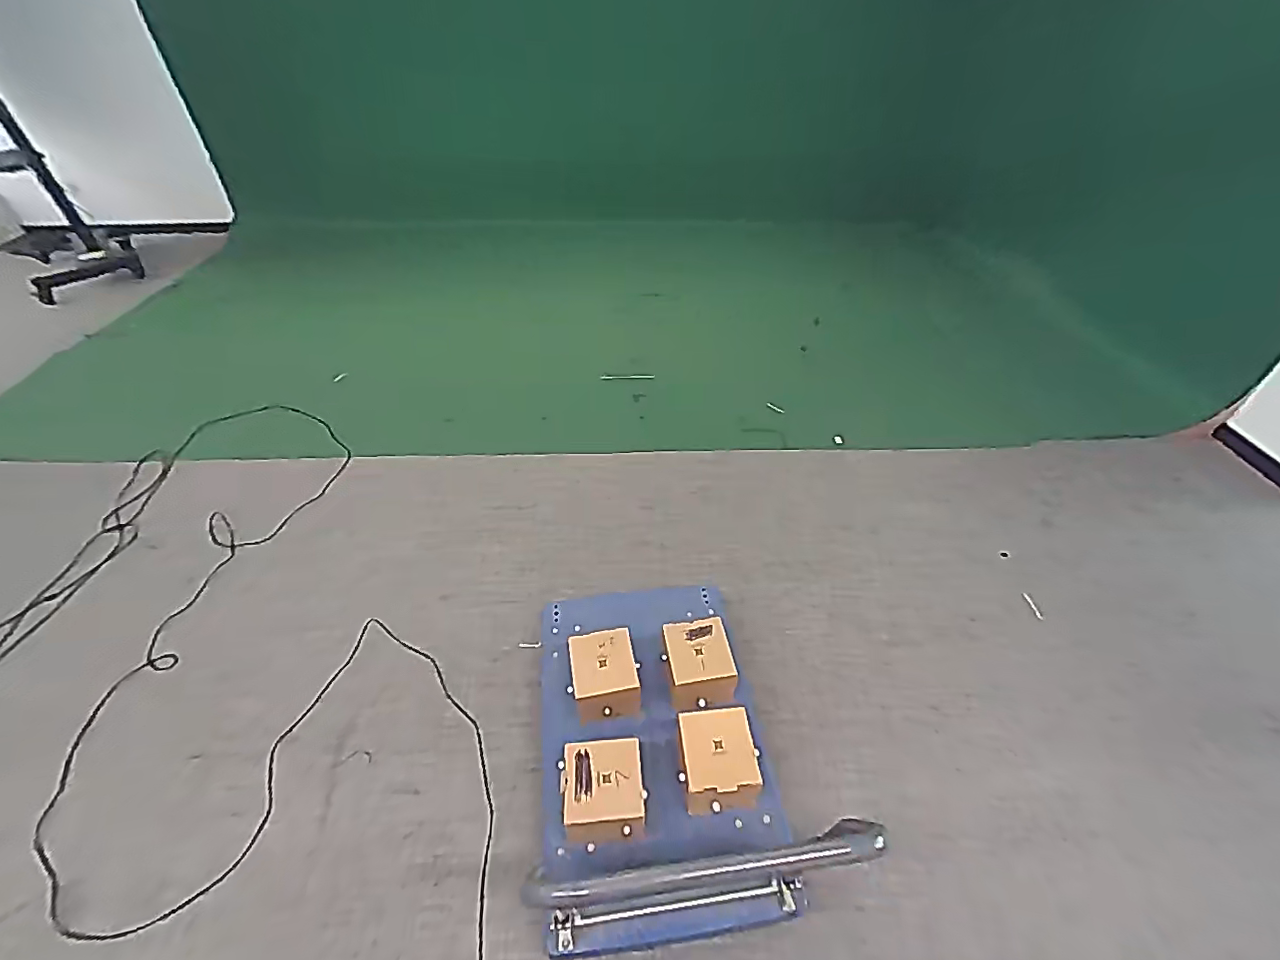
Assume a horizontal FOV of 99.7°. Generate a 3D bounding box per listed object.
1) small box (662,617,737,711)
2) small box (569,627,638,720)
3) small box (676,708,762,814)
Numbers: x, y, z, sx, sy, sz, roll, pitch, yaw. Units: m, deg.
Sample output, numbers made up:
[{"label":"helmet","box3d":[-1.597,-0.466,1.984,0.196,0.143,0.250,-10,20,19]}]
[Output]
[{"label":"small box","box3d":[0.156,0.504,1.482,0.168,0.176,0.179,-7,45,-6]},{"label":"small box","box3d":[-0.098,0.527,1.457,0.168,0.176,0.179,-7,44,-9]},{"label":"small box","box3d":[0.181,0.678,1.305,0.168,0.176,0.179,-4,43,-4]}]
